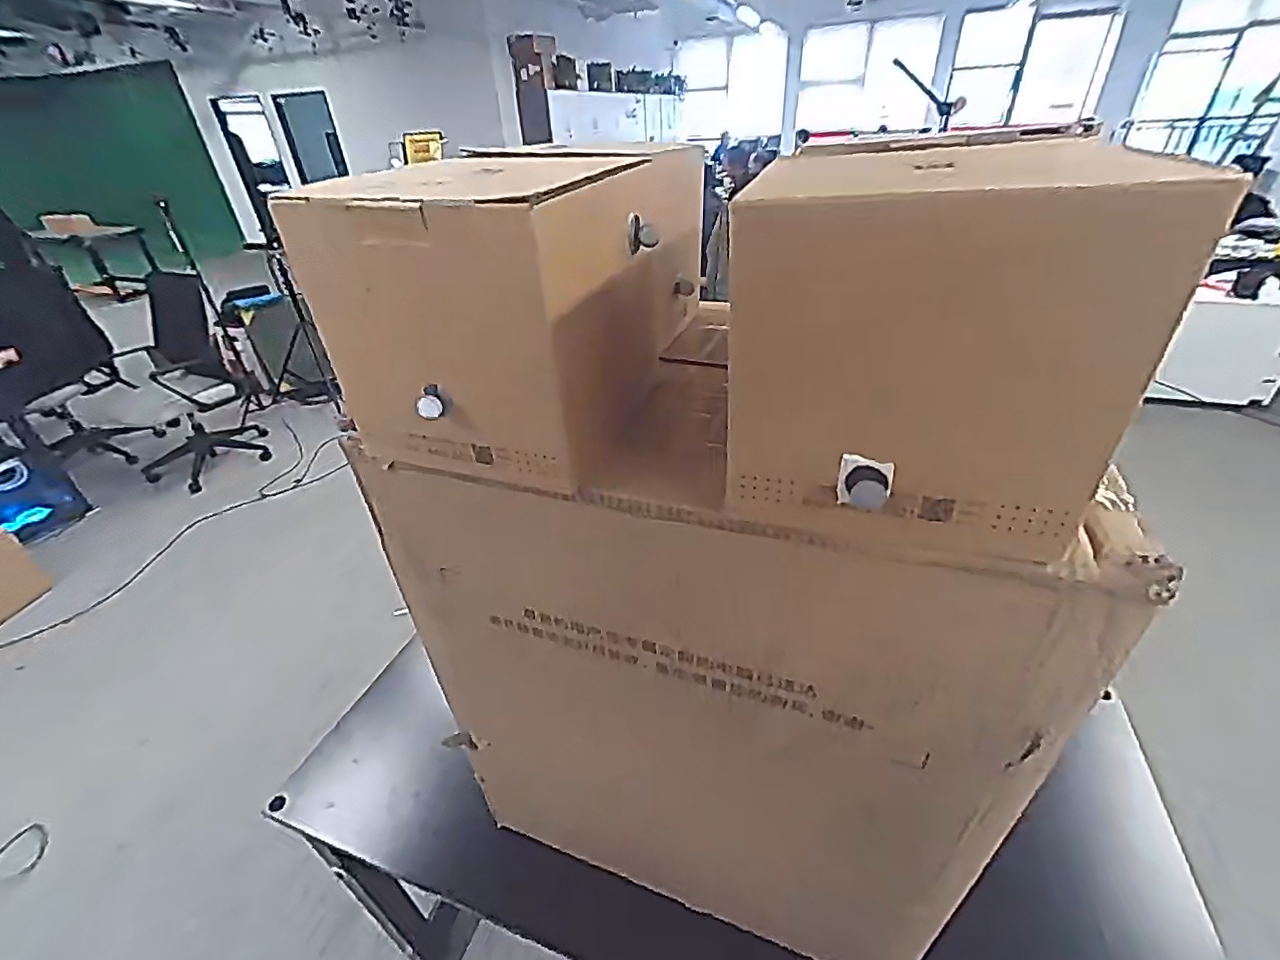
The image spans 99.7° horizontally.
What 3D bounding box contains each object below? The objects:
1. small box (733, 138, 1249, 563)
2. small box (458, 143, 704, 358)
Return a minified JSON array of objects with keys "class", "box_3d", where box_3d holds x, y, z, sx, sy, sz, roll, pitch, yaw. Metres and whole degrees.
[{"class":"small box","box_3d":[0.146,-0.081,0.302,0.168,0.176,0.179,5,36,17]},{"class":"small box","box_3d":[-0.045,-0.230,0.534,0.179,0.176,0.168,11,36,18]}]
